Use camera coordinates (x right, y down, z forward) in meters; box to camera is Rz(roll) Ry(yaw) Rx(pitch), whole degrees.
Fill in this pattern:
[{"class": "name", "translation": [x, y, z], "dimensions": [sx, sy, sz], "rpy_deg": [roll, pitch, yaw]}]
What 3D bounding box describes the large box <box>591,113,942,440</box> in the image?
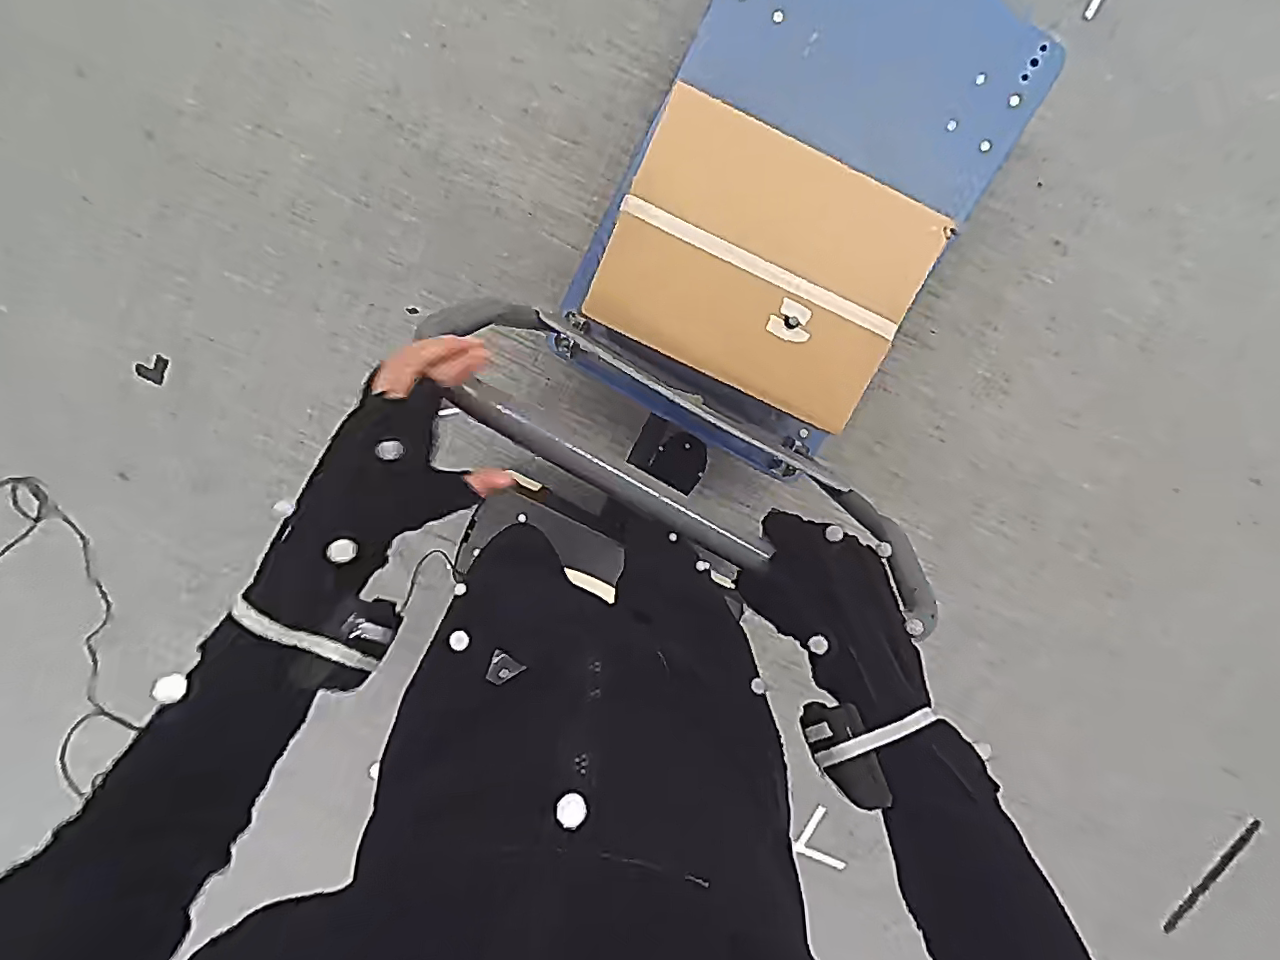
[{"class": "large box", "translation": [0.172, -0.301, 0.894], "dimensions": [0.408, 0.320, 0.320], "rpy_deg": [25, 102, -3]}]
